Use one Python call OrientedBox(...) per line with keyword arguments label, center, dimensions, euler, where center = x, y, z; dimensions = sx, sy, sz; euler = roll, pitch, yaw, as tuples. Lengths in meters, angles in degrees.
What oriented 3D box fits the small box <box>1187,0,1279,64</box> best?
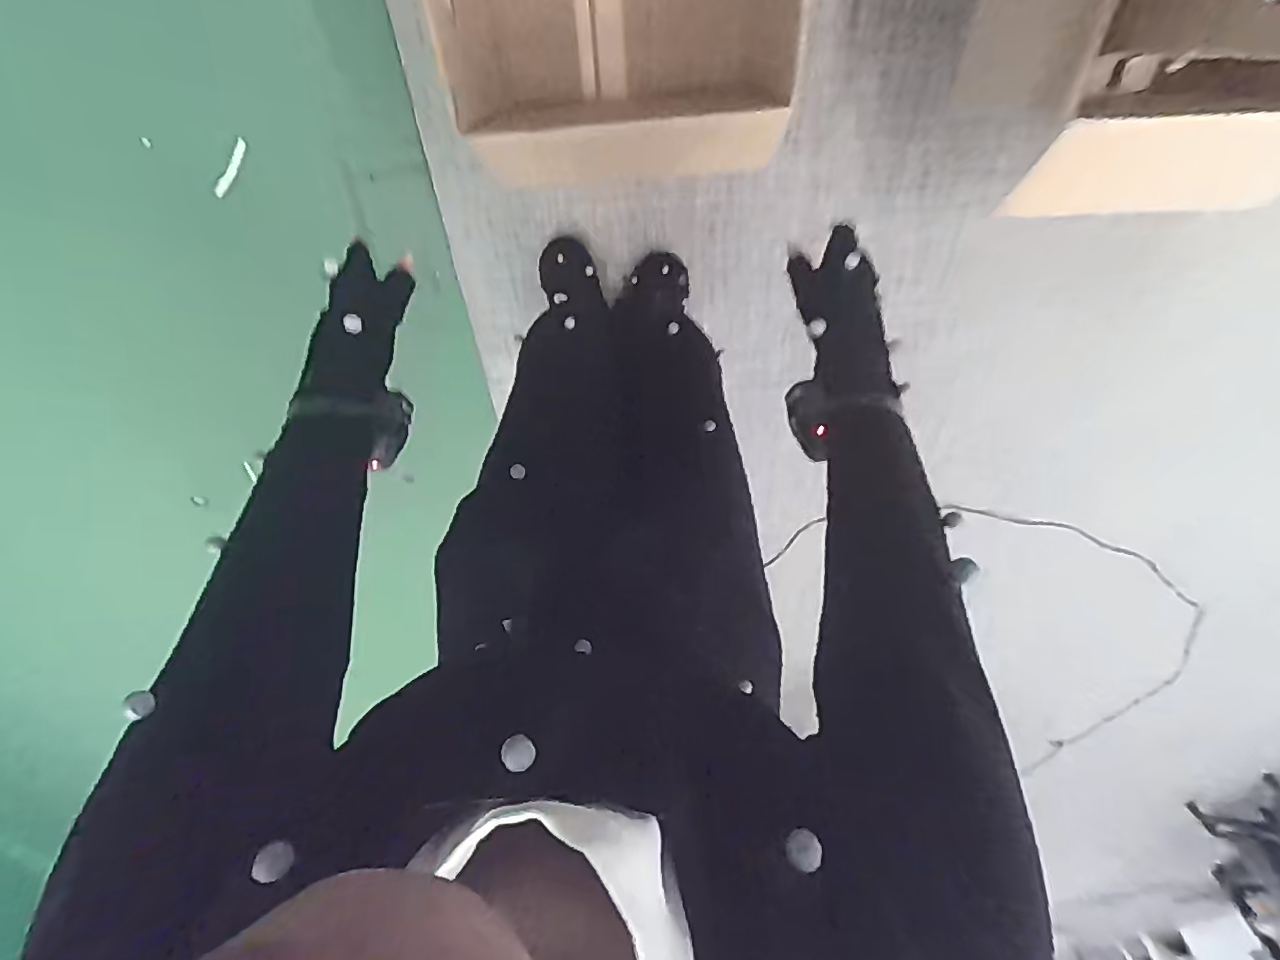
OrientedBox(label="small box", center=(0.673, -0.476, 0.481), dimensions=(0.179, 0.176, 0.168), euler=(-1, 130, 1))
